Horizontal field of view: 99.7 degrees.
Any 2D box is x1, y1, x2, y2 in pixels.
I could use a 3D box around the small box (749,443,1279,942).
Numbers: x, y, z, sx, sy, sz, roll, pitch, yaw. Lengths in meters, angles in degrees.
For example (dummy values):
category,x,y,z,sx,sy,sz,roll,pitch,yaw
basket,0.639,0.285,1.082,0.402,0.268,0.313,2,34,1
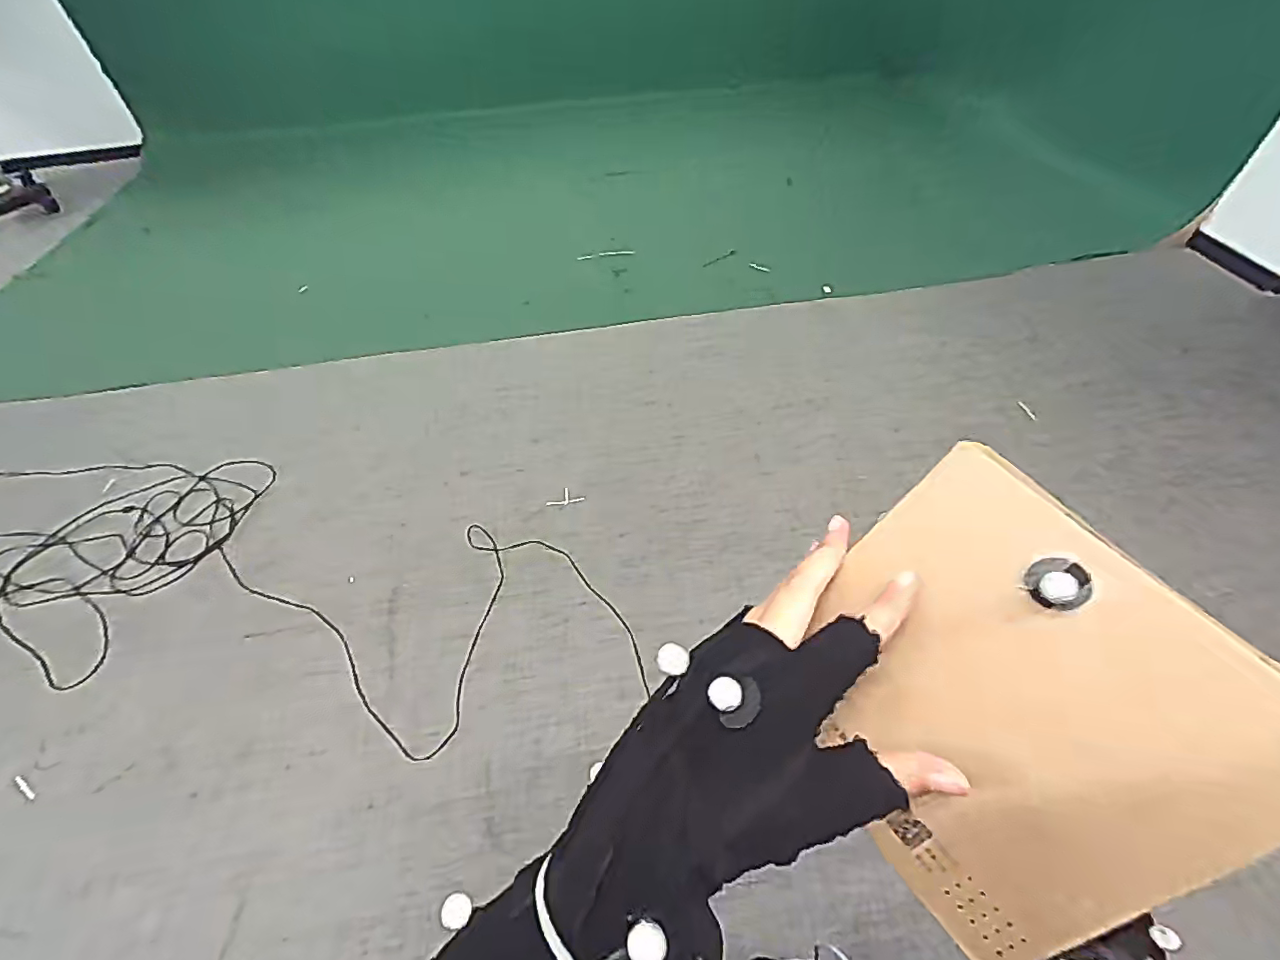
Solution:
category,x,y,z,sx,sy,sz,roll,pitch,yaw
small box,0.194,0.100,0.311,0.179,0.176,0.168,1,41,-53
